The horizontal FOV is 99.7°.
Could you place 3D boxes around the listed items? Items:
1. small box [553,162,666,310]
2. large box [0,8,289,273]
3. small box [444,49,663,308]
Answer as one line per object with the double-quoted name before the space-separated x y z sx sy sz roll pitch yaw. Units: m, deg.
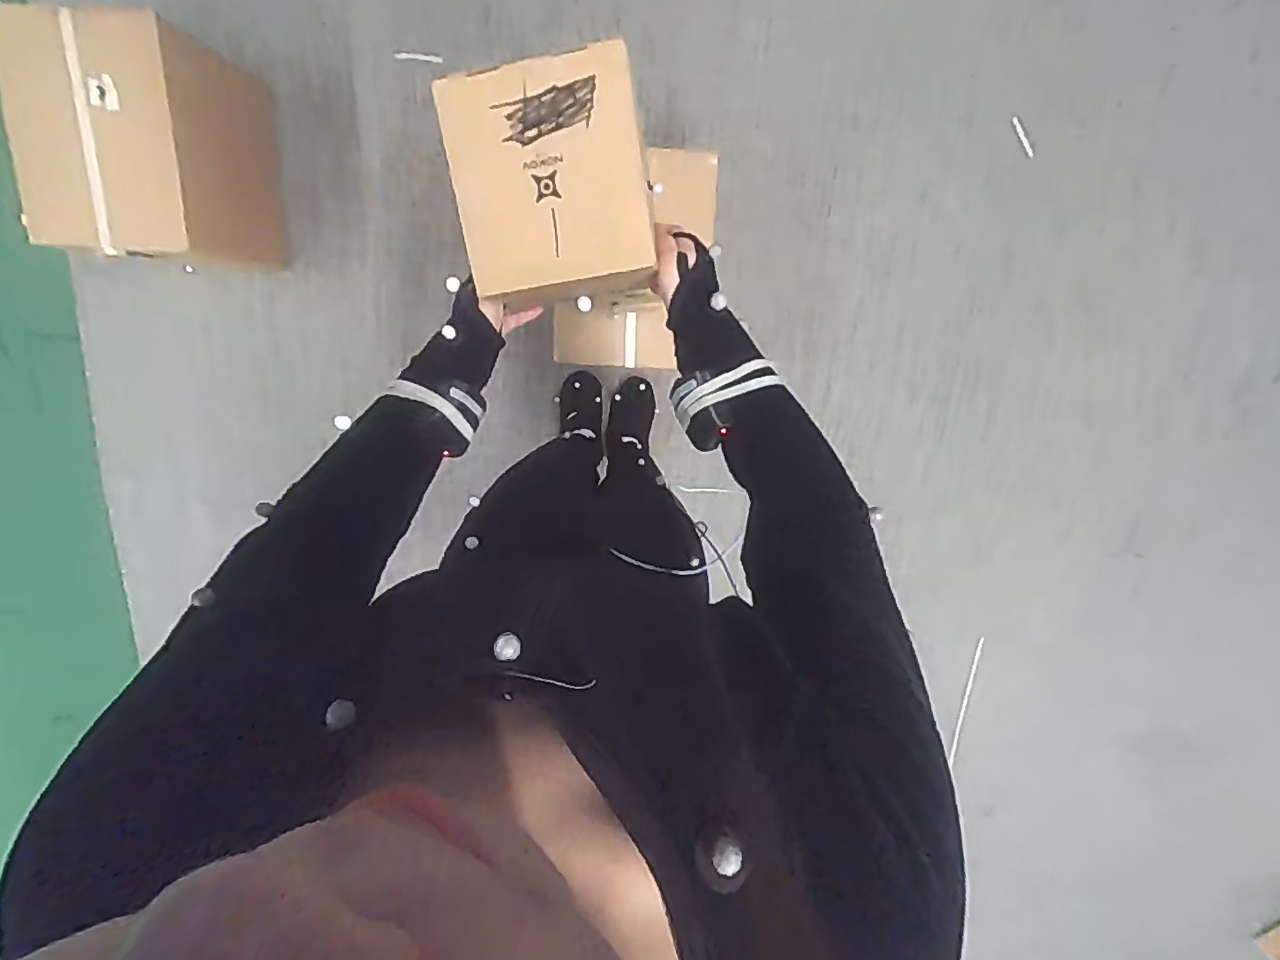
"small box" -0.047 -0.353 0.816 0.168 0.176 0.179 -4 105 3
"large box" -1.014 -0.679 1.157 0.320 0.320 0.408 4 103 0
"small box" -0.069 -0.279 0.544 0.168 0.176 0.179 -7 104 7
